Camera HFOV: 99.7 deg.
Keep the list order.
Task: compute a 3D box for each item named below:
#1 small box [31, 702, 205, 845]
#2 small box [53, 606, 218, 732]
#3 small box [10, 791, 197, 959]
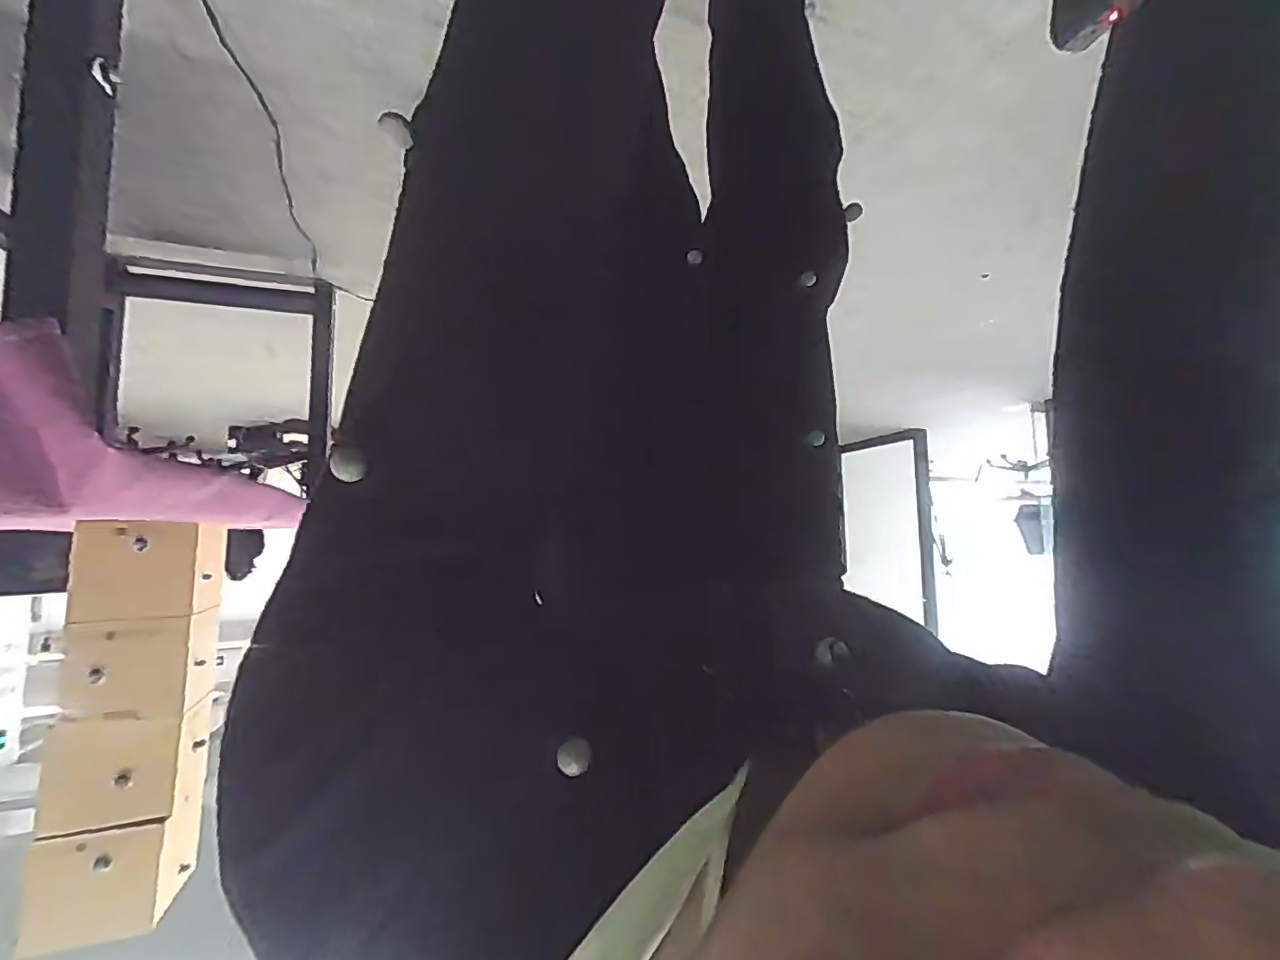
[{"bbox_3d":[-0.879,0.482,0.932,0.179,0.176,0.168,3,172,-23],"label":"small box"},{"bbox_3d":[-0.873,0.320,0.954,0.168,0.176,0.179,3,172,-24],"label":"small box"},{"bbox_3d":[-0.881,0.645,0.910,0.168,0.176,0.179,3,171,-21],"label":"small box"}]
